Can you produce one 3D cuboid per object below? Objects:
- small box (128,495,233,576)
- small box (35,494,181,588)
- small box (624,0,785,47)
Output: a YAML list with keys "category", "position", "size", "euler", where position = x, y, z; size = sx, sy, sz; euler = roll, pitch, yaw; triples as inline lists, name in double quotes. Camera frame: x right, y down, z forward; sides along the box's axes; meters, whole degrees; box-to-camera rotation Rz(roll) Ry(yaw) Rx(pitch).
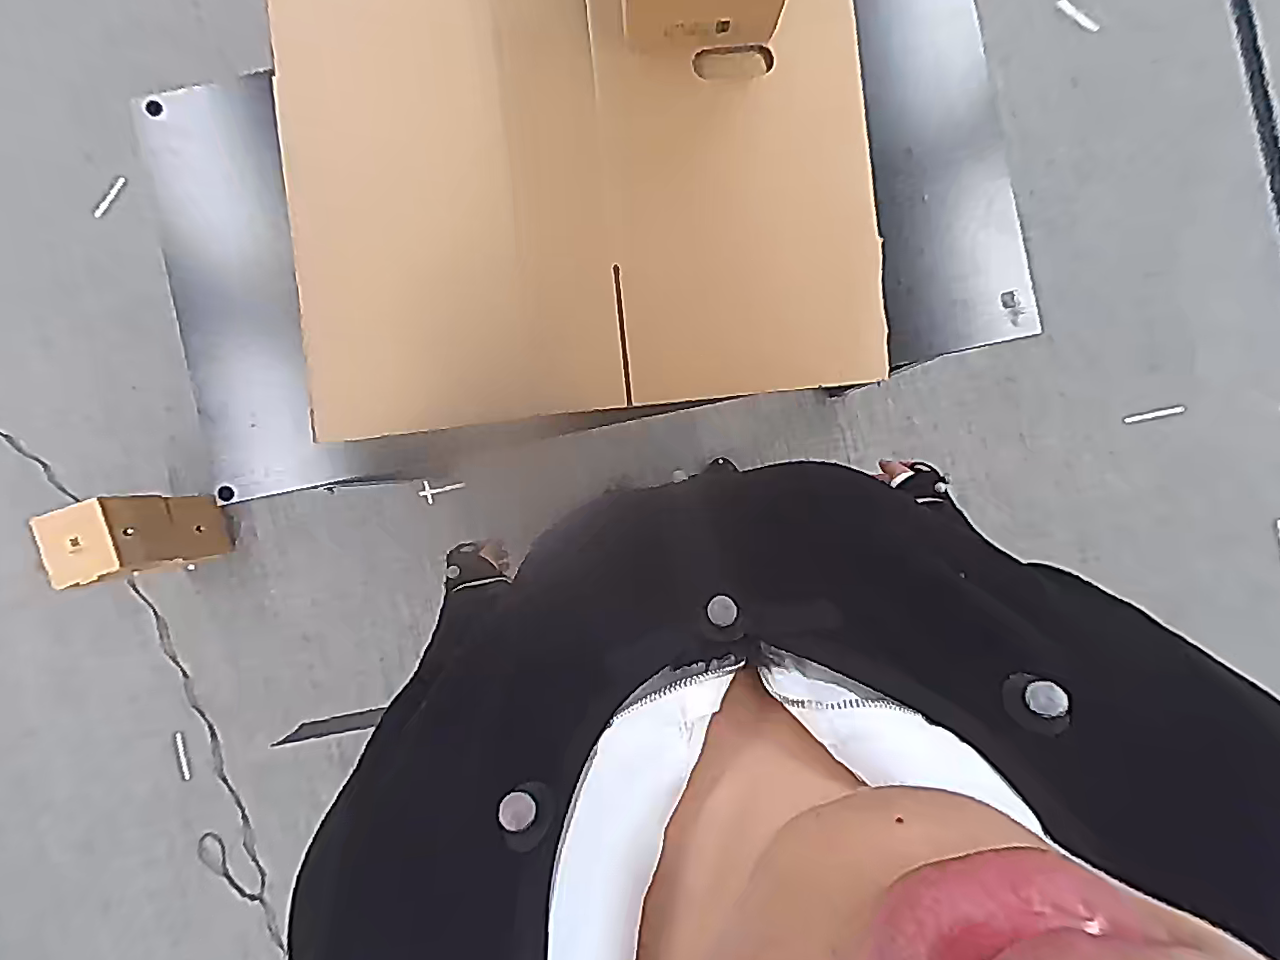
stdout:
- category: "small box"
  position: [-1.259, 0.143, 1.465]
  size: [0.168, 0.176, 0.179]
  euler: [-16, 91, 2]
- category: "small box"
  position: [-1.266, 0.140, 1.302]
  size: [0.168, 0.176, 0.179]
  euler: [-19, 89, 1]
- category: "small box"
  position: [0.063, -0.565, 0.513]
  size: [0.168, 0.176, 0.179]
  euler: [-5, 89, -2]
